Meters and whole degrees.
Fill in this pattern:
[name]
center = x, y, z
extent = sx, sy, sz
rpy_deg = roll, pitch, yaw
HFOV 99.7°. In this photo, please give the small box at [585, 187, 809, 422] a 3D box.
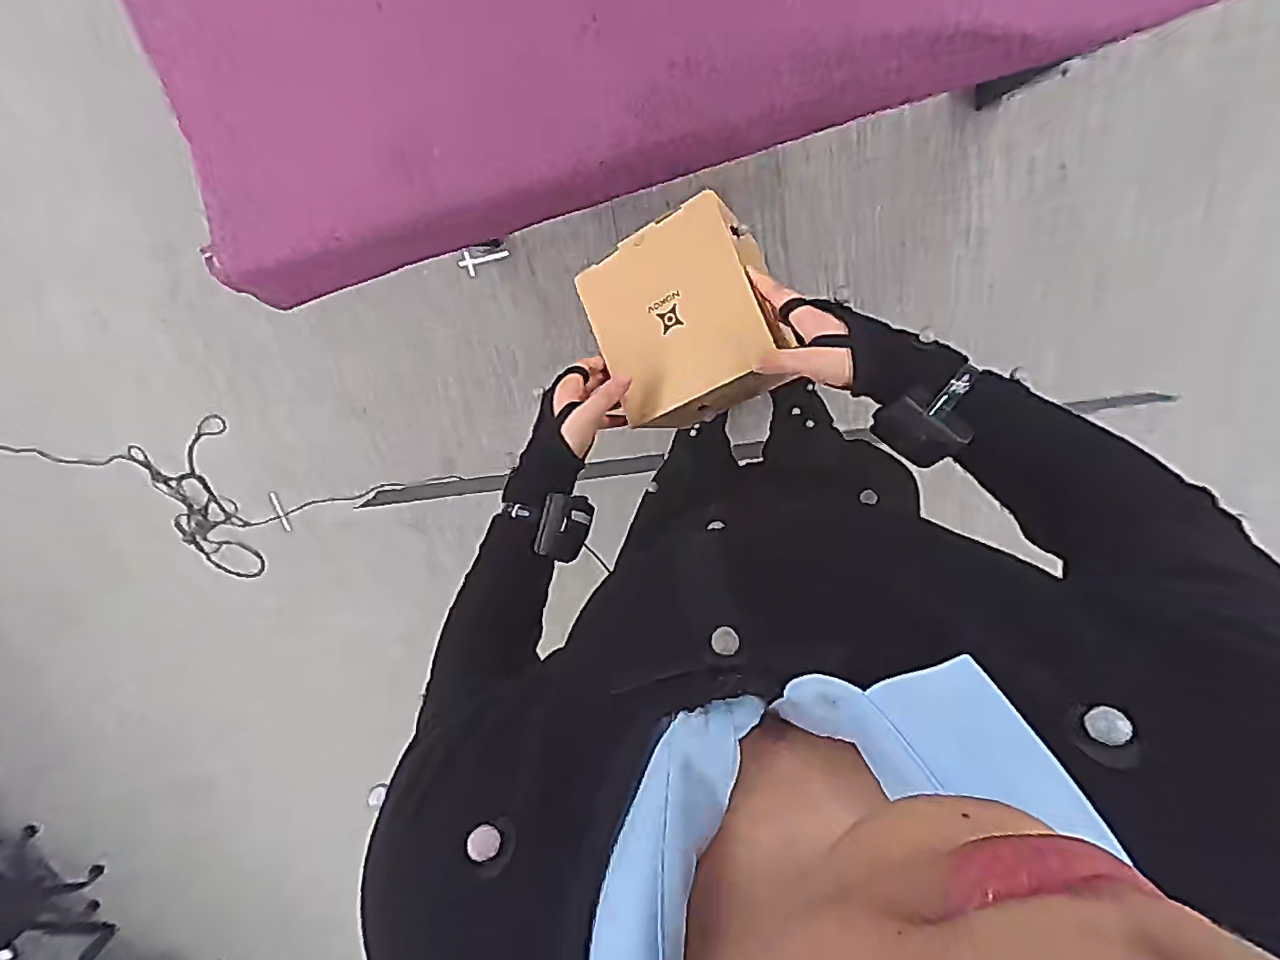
[small box]
center = 0.072, -0.175, 0.604
extent = 0.168, 0.176, 0.179
rpy_deg = -23, 83, 26
